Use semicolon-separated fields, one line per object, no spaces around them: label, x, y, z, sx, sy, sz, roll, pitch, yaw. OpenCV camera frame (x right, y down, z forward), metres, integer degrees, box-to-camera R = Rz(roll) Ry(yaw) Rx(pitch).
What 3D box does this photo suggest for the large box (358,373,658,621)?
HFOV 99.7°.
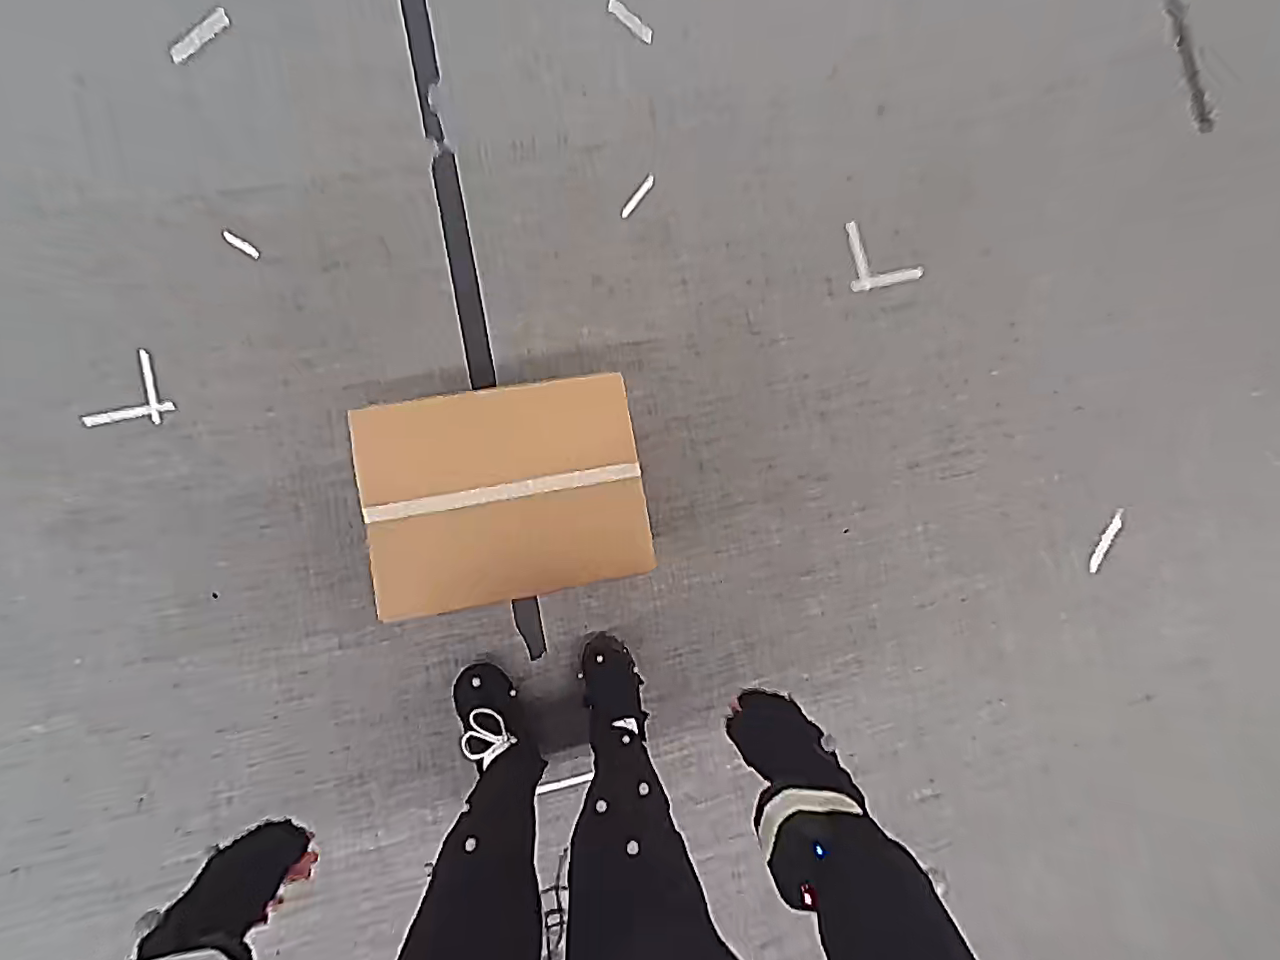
large box;-0.211;0.029;0.952;0.408;0.320;0.320;-10;88;-8
